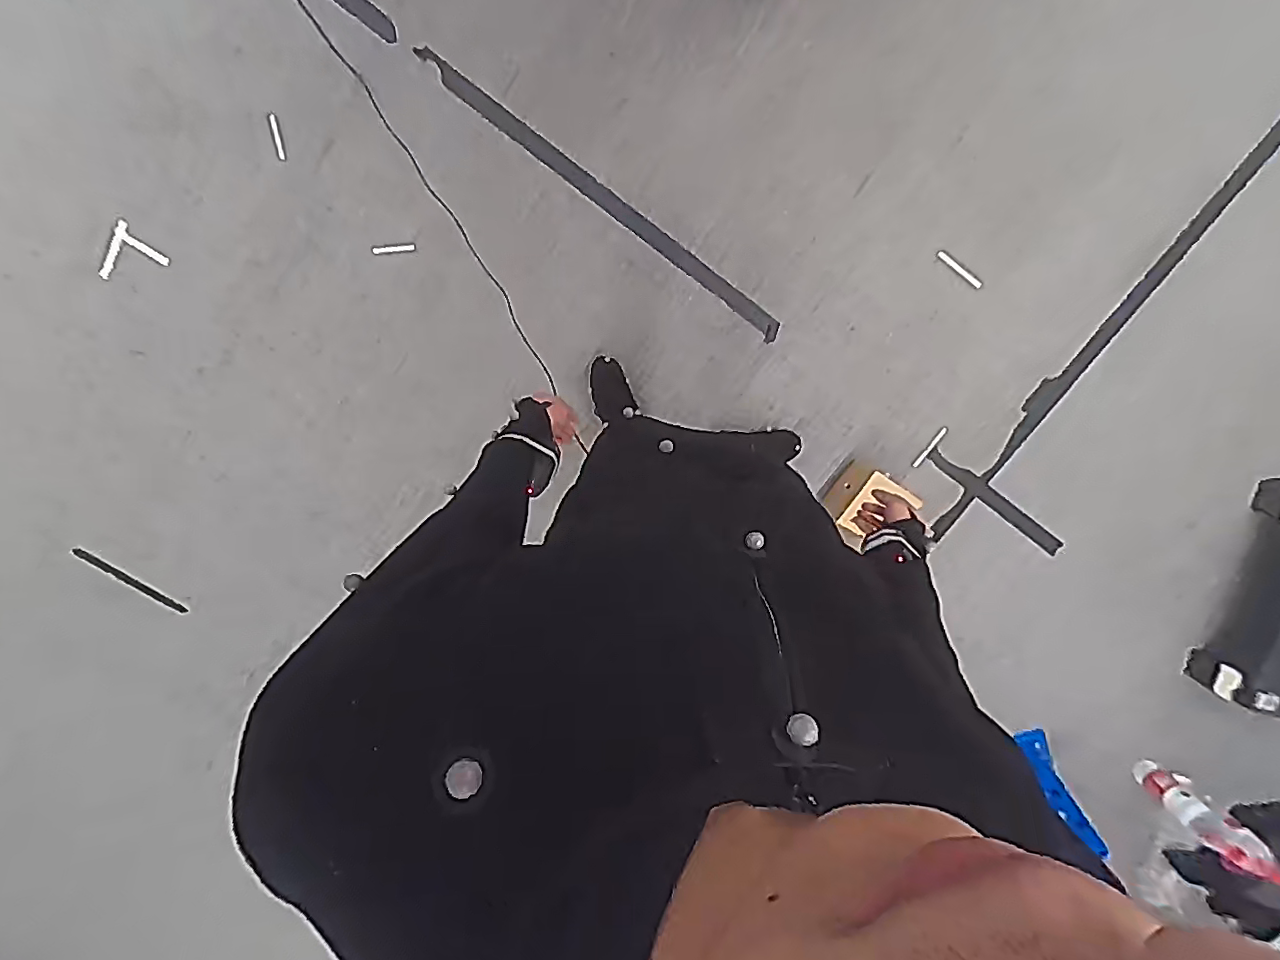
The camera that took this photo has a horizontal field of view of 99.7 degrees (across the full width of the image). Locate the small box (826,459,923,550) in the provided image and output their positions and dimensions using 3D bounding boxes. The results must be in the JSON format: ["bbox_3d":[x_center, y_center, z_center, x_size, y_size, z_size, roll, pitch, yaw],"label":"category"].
[{"bbox_3d":[0.659,0.064,1.553,0.168,0.176,0.179,32,102,-6],"label":"small box"}]
